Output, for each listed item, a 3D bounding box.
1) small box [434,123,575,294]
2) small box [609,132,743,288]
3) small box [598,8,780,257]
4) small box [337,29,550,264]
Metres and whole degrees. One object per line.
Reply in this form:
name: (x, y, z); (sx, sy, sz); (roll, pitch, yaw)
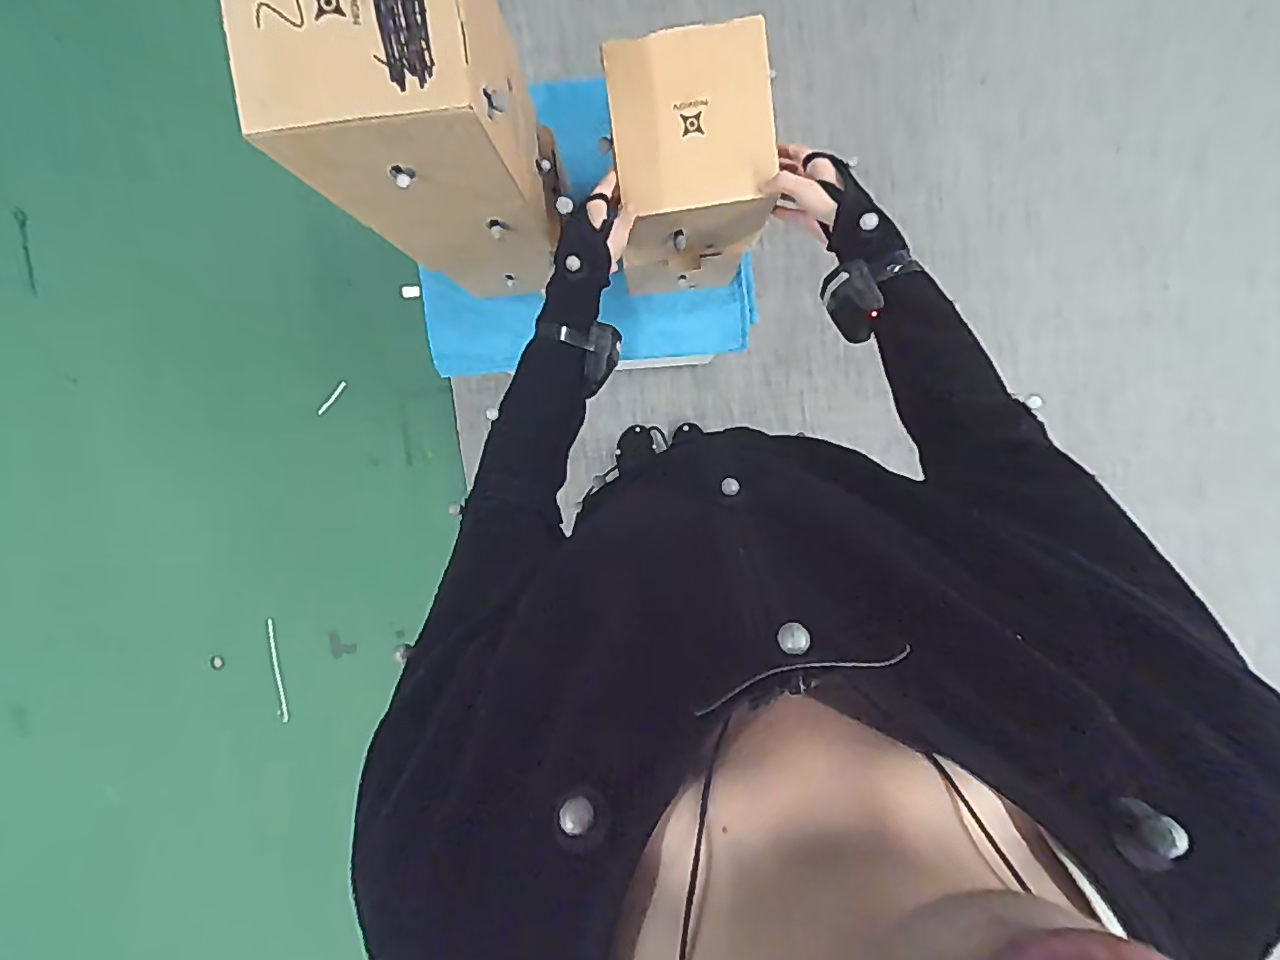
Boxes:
small box: (-0.193, -0.379, 0.783); (0.179, 0.176, 0.168); (-6, 95, 2)
small box: (0.050, -0.385, 0.778); (0.168, 0.176, 0.179); (-6, 95, 2)
small box: (0.054, -0.370, 0.616); (0.168, 0.176, 0.179); (-8, 95, 3)
small box: (-0.206, -0.362, 0.620); (0.179, 0.176, 0.168); (-6, 95, 2)
